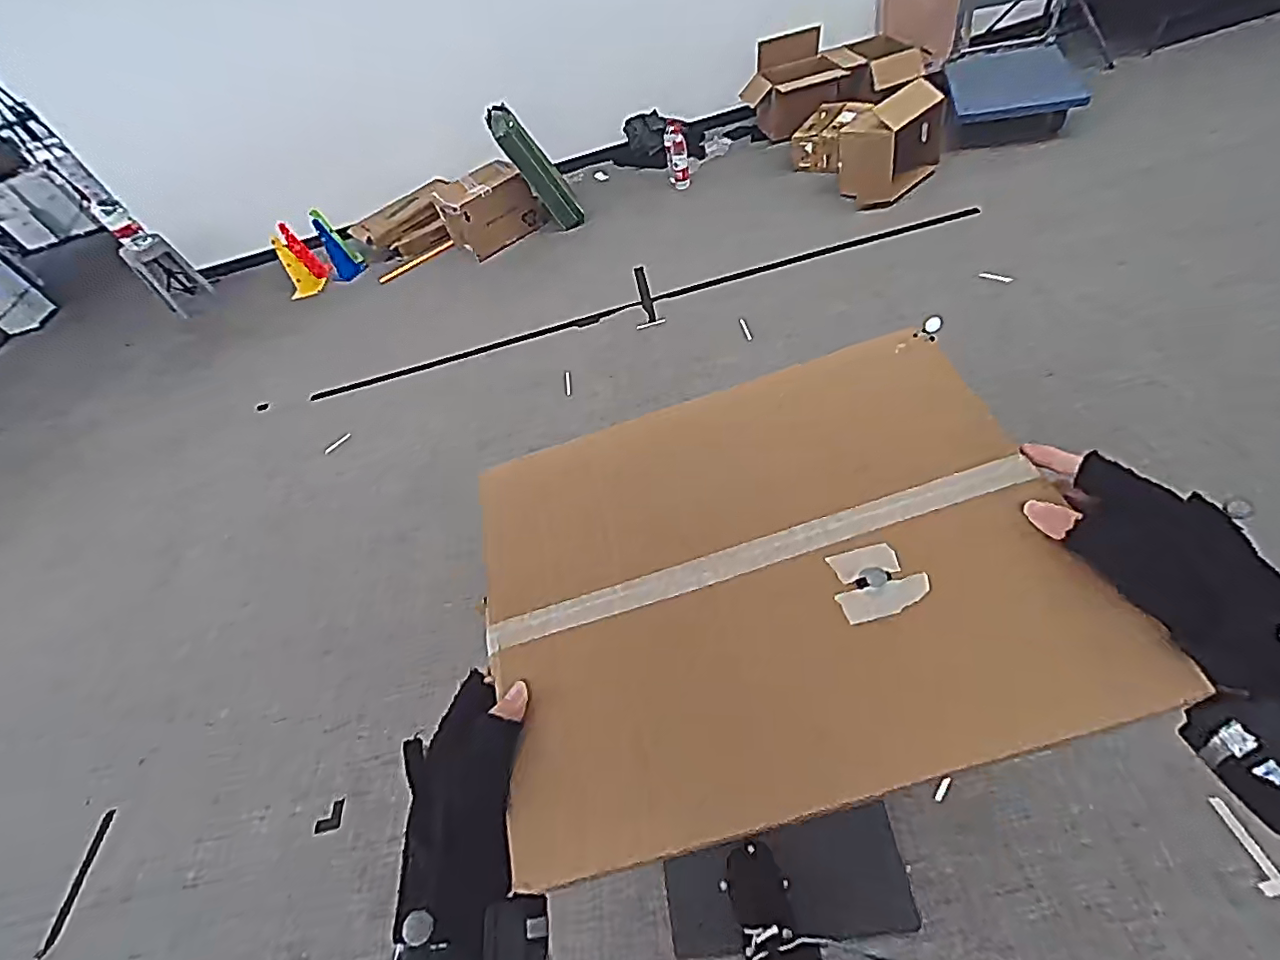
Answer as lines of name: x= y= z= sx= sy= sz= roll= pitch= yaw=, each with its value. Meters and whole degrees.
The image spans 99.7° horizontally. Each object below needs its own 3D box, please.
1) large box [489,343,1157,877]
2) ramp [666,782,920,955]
large box: x=0.113 y=0.137 z=0.530 sx=0.408 sy=0.320 sz=0.320 roll=-18 pitch=57 yaw=3
ramp: x=0.252 y=0.496 z=1.331 sx=0.509 sy=0.206 sz=0.991 roll=-13 pitch=49 yaw=4
